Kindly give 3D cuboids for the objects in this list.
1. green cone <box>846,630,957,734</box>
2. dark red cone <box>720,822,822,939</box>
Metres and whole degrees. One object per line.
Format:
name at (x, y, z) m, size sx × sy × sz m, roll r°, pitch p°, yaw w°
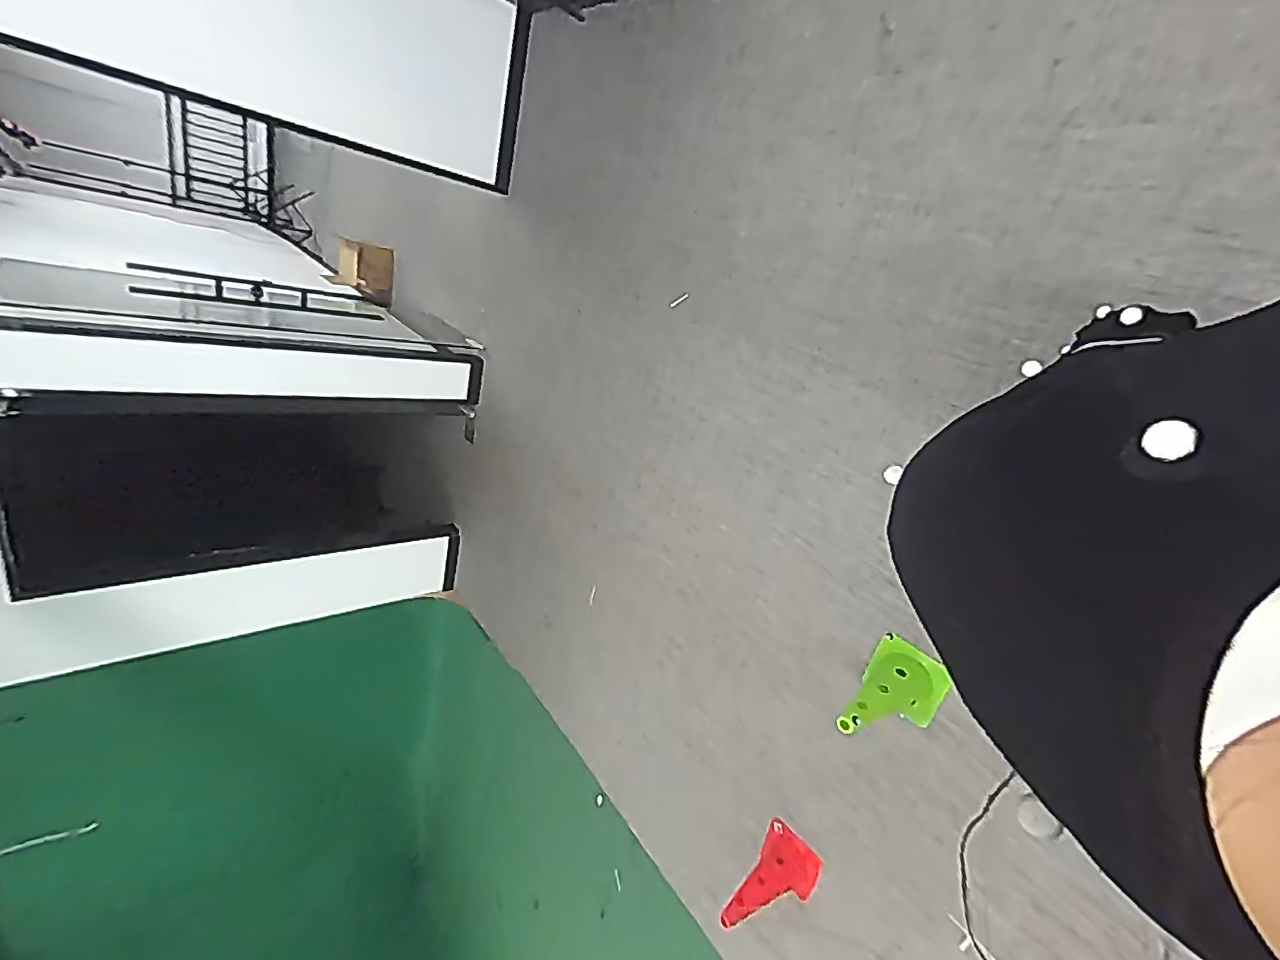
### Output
green cone at (0.631, 0.566, 1.402) m, size 0.202 × 0.368 × 0.200 m, roll 33°, pitch 118°, yaw 40°
dark red cone at (0.392, 1.312, 1.725) m, size 0.202 × 0.394 × 0.201 m, roll 29°, pitch 117°, yaw 43°
